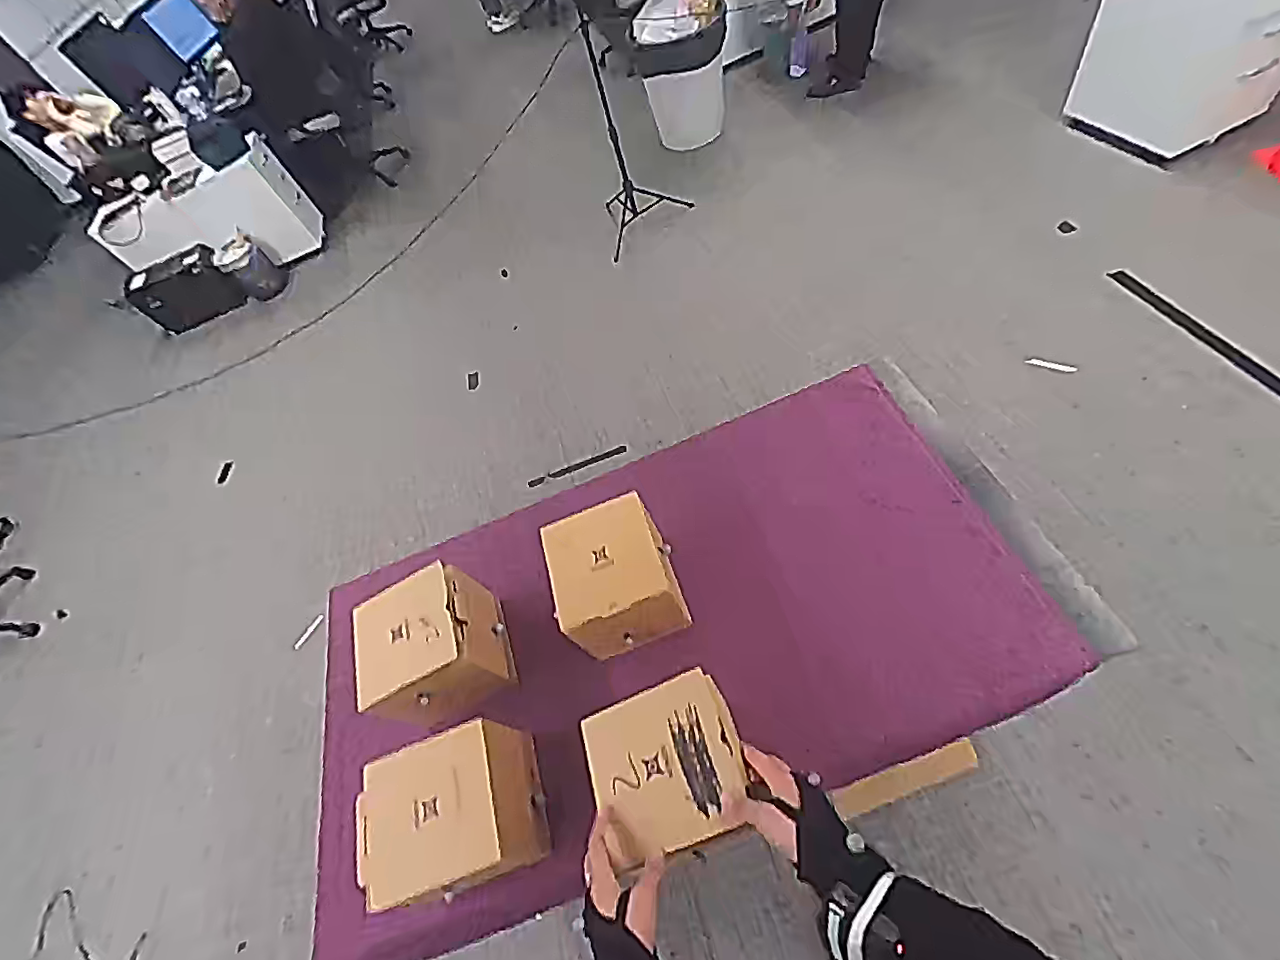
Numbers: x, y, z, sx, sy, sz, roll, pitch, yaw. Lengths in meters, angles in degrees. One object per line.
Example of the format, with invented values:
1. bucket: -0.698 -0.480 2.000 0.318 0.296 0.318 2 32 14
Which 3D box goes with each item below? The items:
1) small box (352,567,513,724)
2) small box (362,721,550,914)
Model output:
1. small box: -0.330 0.272 0.870 0.179 0.176 0.168 -24 56 0
2. small box: -0.245 0.452 0.733 0.179 0.176 0.168 -23 56 2
